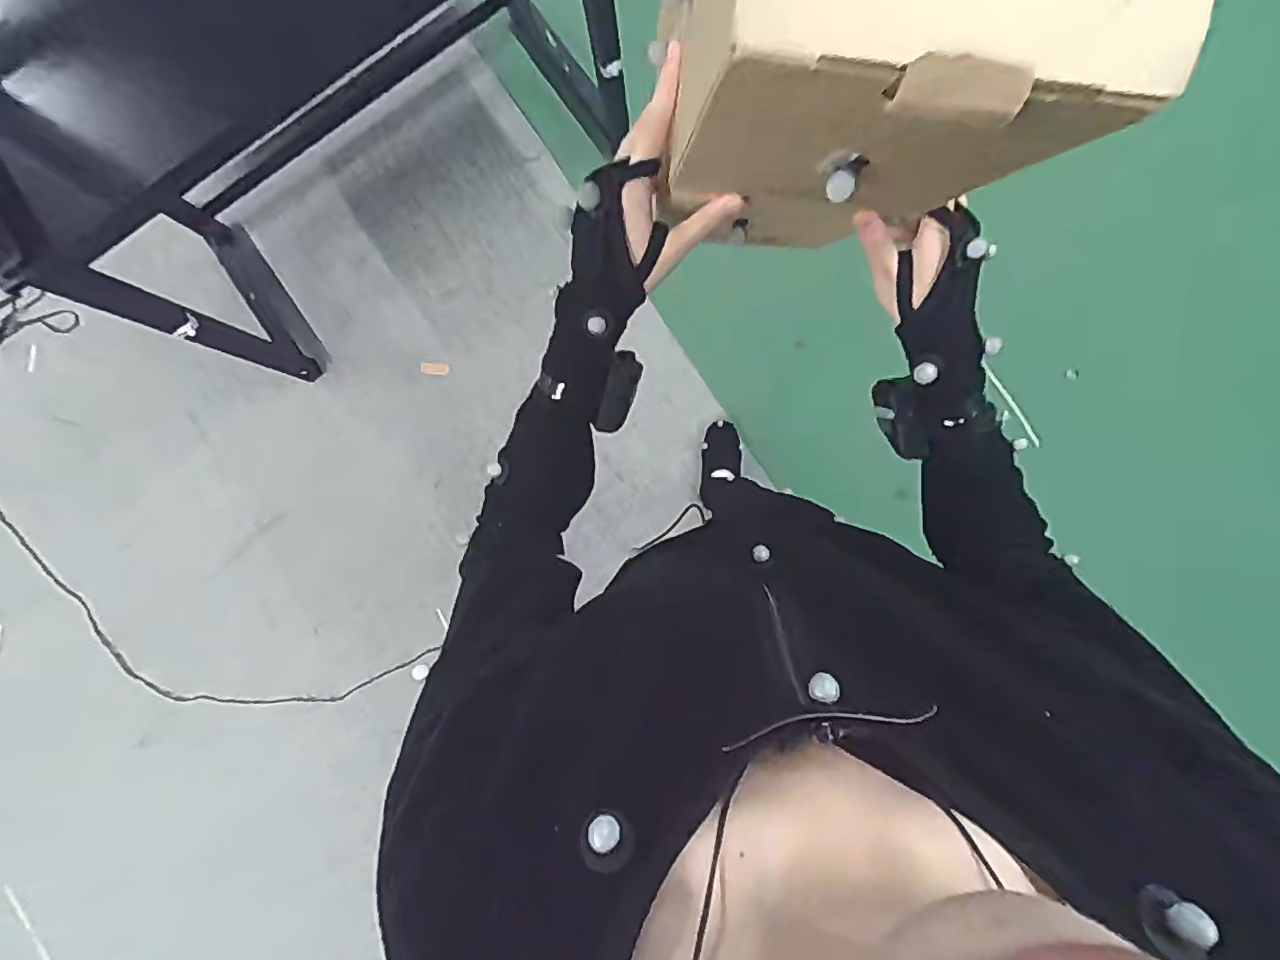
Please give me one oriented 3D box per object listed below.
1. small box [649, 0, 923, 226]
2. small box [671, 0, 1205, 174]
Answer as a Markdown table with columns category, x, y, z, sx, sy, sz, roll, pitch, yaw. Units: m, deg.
| category | x | y | z | sx | sy | sz | roll | pitch | yaw |
| --- | --- | --- | --- | --- | --- | --- | --- | --- | --- |
| small box | 0.097 | -0.294 | 0.390 | 0.168 | 0.176 | 0.179 | 1 | 103 | -4 |
| small box | 0.109 | -0.253 | 0.233 | 0.168 | 0.176 | 0.179 | 4 | 105 | -6 |
